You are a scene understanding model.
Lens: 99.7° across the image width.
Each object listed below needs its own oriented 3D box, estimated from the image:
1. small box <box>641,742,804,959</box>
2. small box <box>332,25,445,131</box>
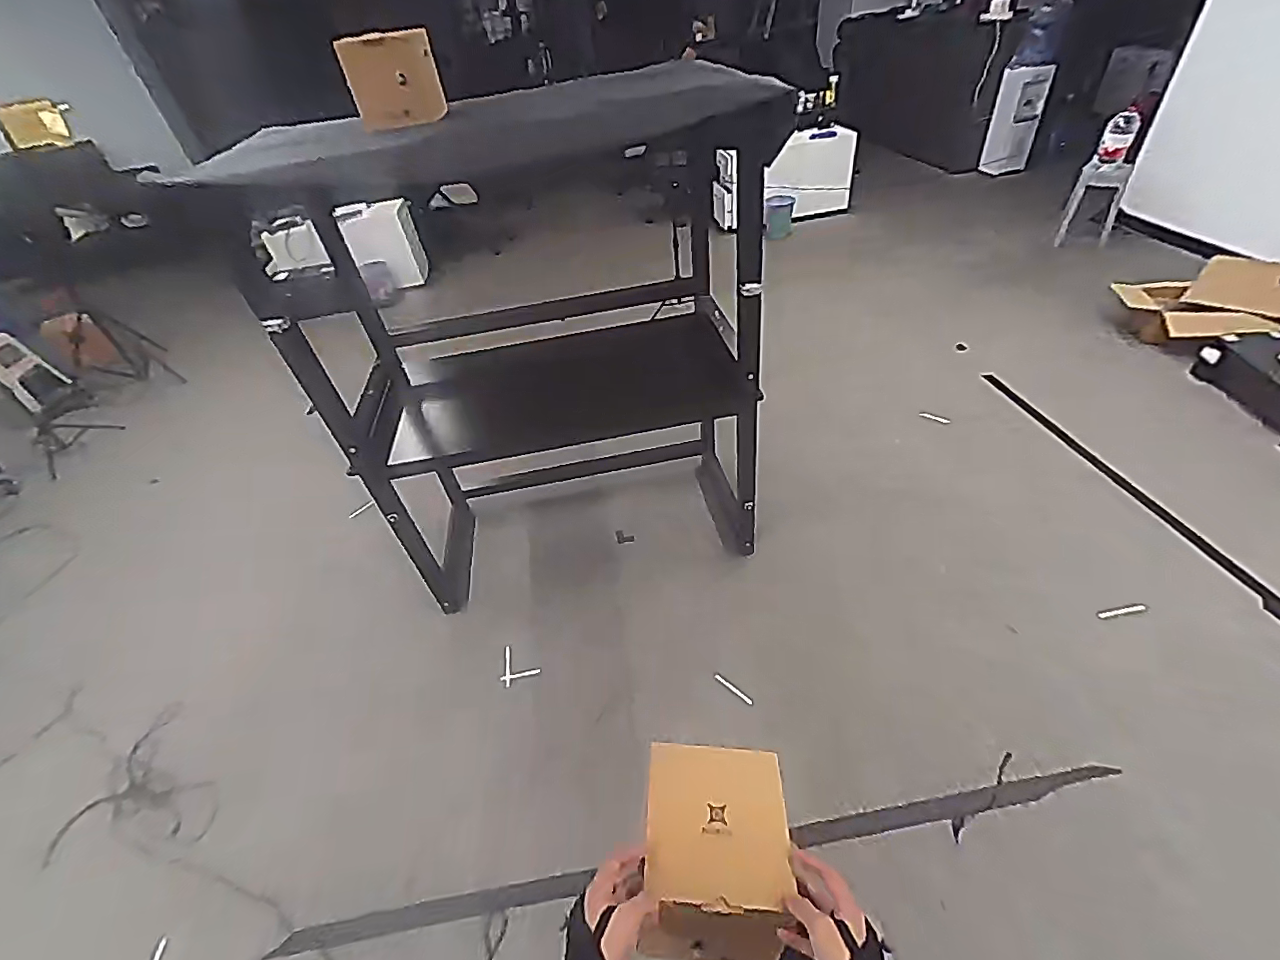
[{"bbox_3d":[0.090,0.461,0.674,0.168,0.176,0.179,4,35,1],"label":"small box"},{"bbox_3d":[-0.563,-0.918,1.241,0.168,0.176,0.179,-8,43,-1],"label":"small box"}]
